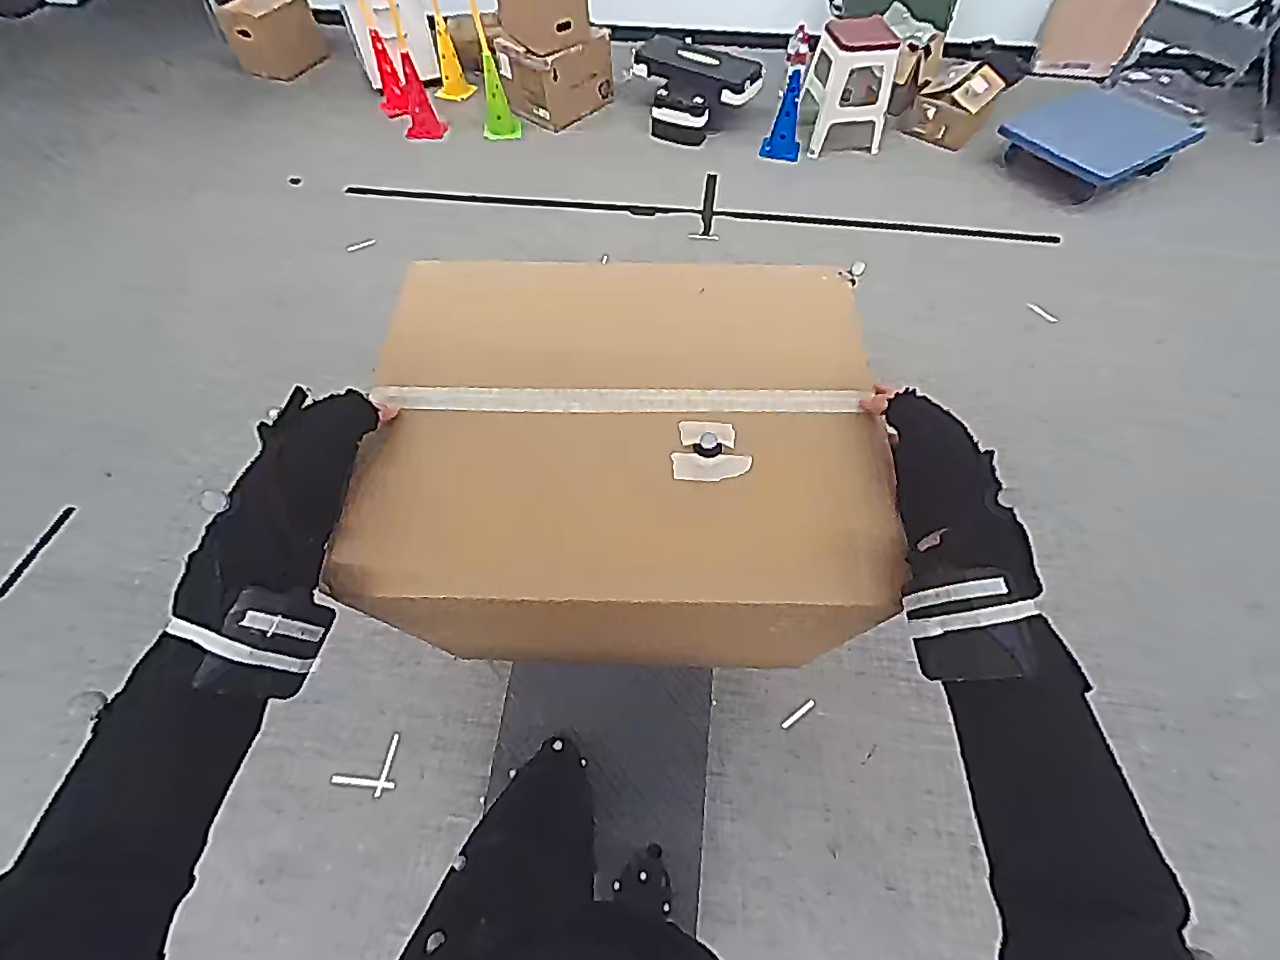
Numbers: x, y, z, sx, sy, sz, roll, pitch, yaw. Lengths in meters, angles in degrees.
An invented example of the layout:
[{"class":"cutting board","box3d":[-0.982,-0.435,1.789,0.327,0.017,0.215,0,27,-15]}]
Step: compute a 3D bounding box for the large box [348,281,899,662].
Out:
[{"class":"large box","box3d":[-0.012,0.013,0.583,0.408,0.320,0.320,1,64,1]}]
